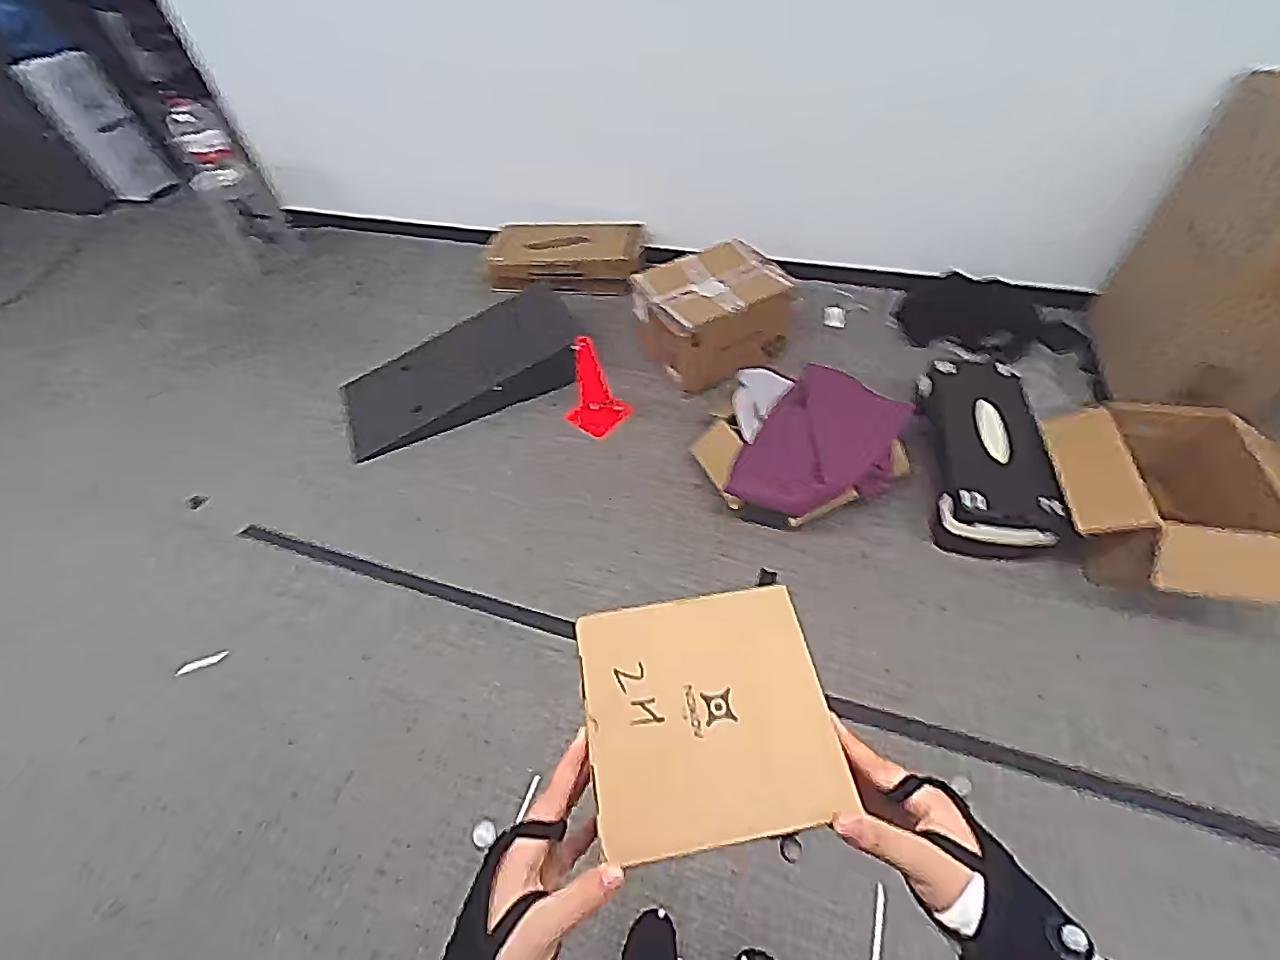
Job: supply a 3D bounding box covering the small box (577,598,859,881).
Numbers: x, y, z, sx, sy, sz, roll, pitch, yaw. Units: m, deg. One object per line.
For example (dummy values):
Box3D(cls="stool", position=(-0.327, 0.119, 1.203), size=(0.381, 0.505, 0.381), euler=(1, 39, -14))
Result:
Box3D(cls="small box", position=(0.047, 0.218, 0.457), size=(0.179, 0.176, 0.168), euler=(-8, 56, -6))
